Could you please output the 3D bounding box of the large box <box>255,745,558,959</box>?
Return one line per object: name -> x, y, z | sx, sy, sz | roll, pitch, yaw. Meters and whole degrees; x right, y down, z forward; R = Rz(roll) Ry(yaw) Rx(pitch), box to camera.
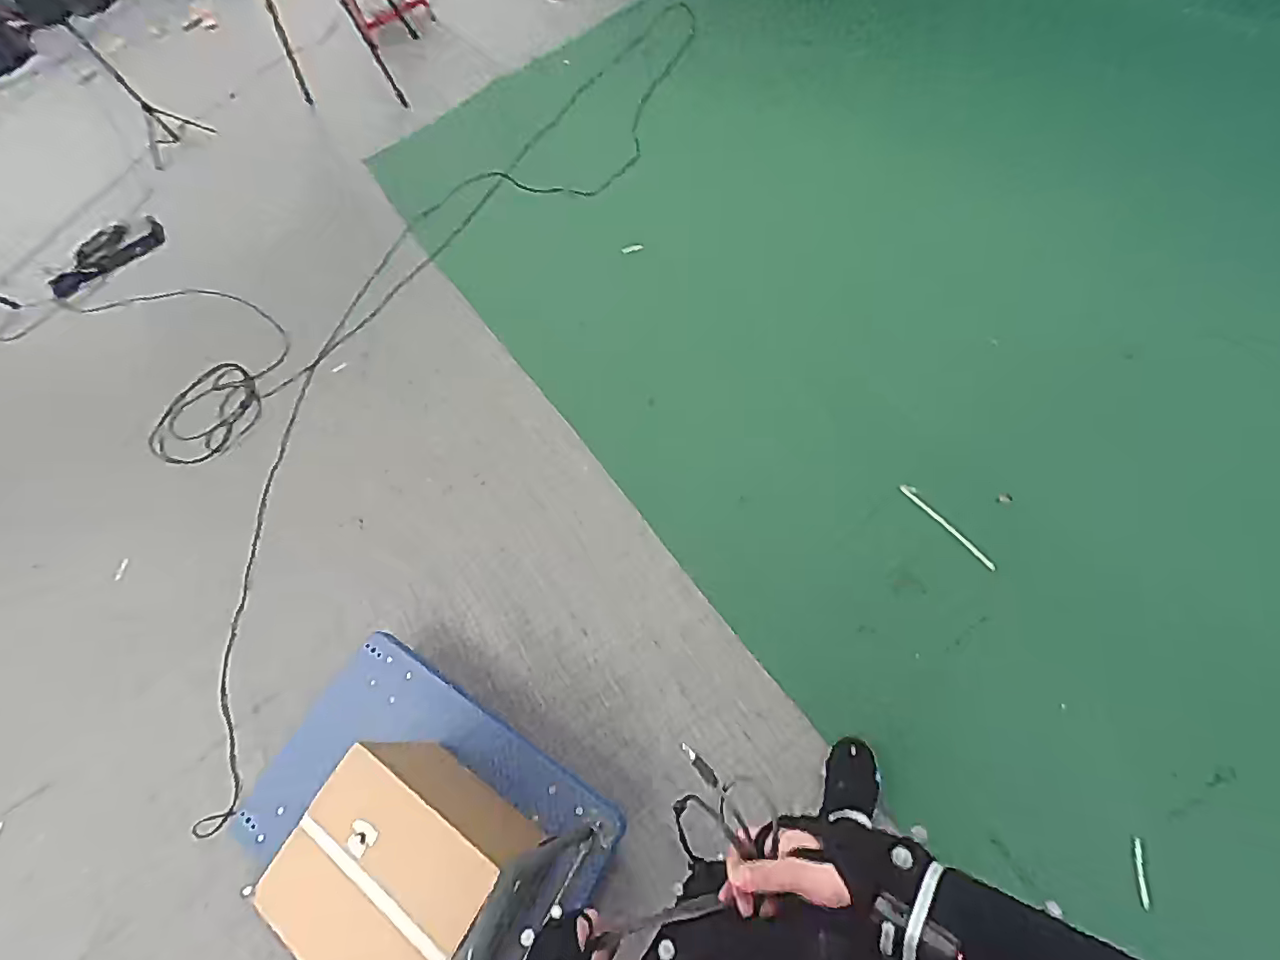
large box -> -0.447, 0.796, 1.103 | 0.408, 0.320, 0.320 | 25, 71, 24
